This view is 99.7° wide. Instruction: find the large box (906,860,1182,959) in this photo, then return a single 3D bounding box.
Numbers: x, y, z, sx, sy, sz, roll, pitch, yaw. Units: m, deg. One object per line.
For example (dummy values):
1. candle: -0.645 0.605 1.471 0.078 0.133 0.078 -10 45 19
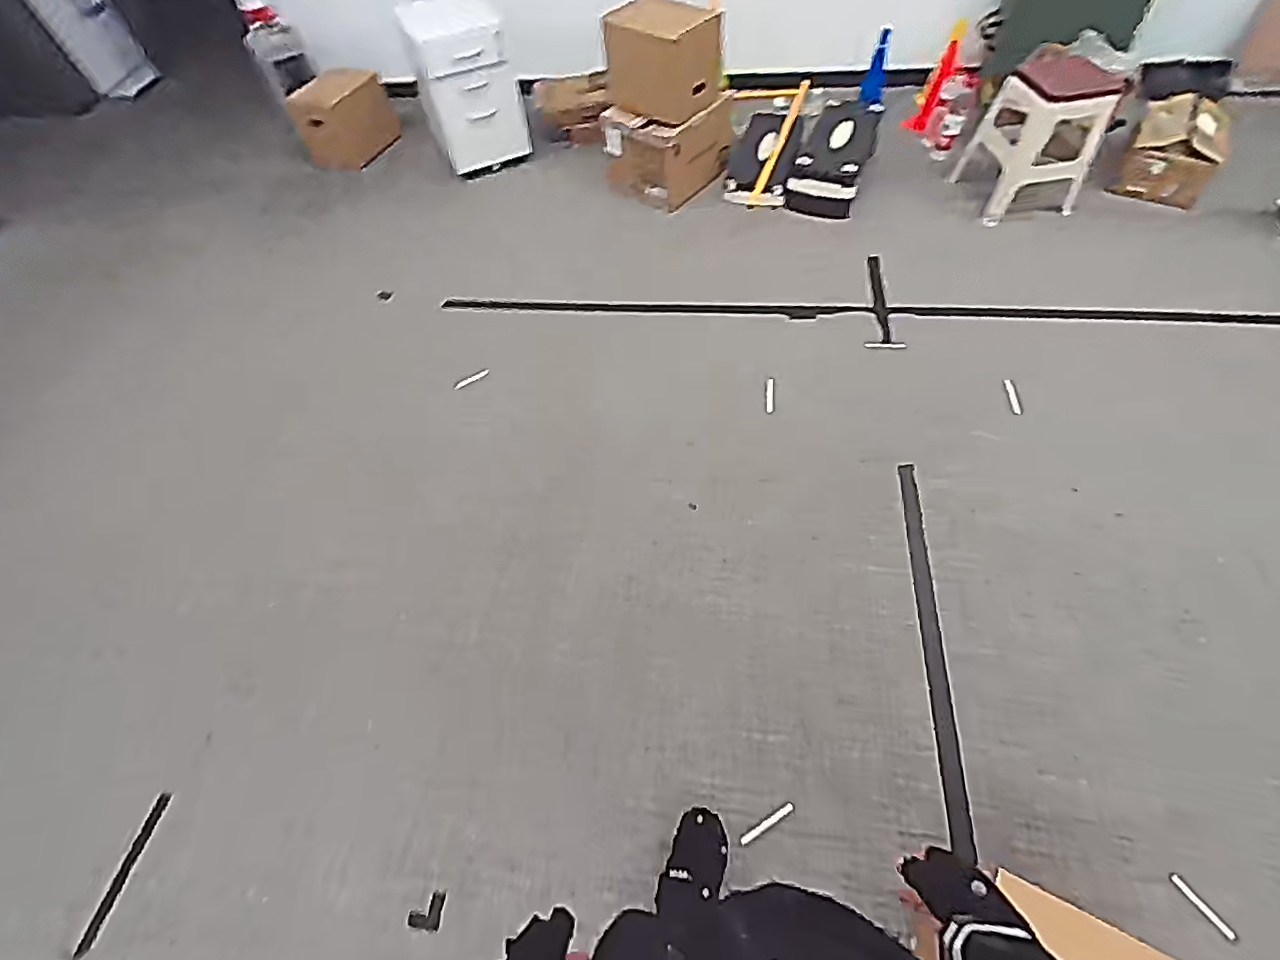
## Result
1. large box: 0.711 0.916 0.913 0.408 0.320 0.320 21 60 18
